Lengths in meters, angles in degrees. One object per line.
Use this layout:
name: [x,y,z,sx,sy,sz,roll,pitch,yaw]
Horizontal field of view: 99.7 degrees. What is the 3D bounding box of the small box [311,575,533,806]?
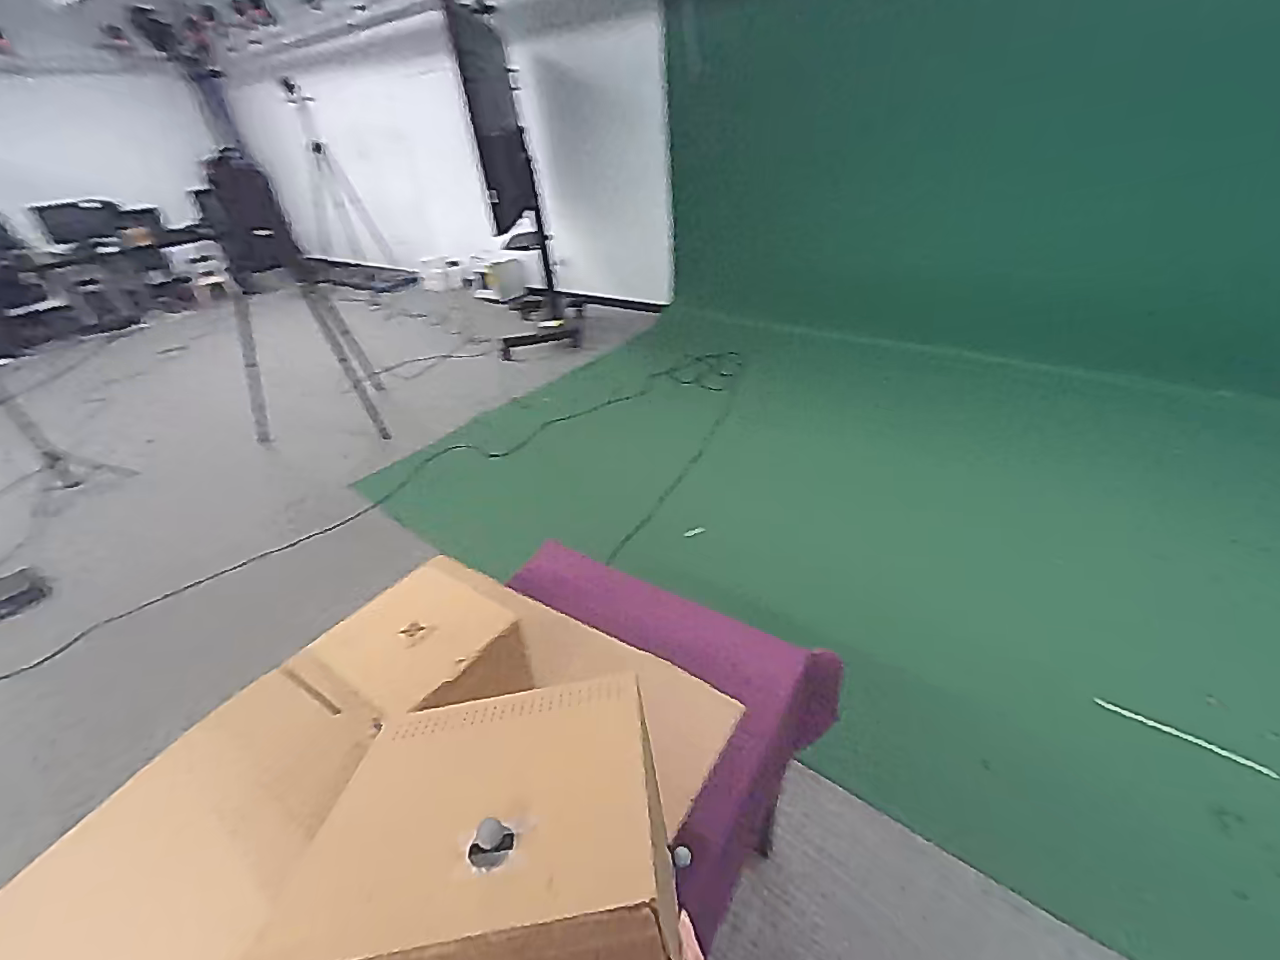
small box: [-0.256,0.253,0.664,0.179,0.176,0.168,18,38,31]
